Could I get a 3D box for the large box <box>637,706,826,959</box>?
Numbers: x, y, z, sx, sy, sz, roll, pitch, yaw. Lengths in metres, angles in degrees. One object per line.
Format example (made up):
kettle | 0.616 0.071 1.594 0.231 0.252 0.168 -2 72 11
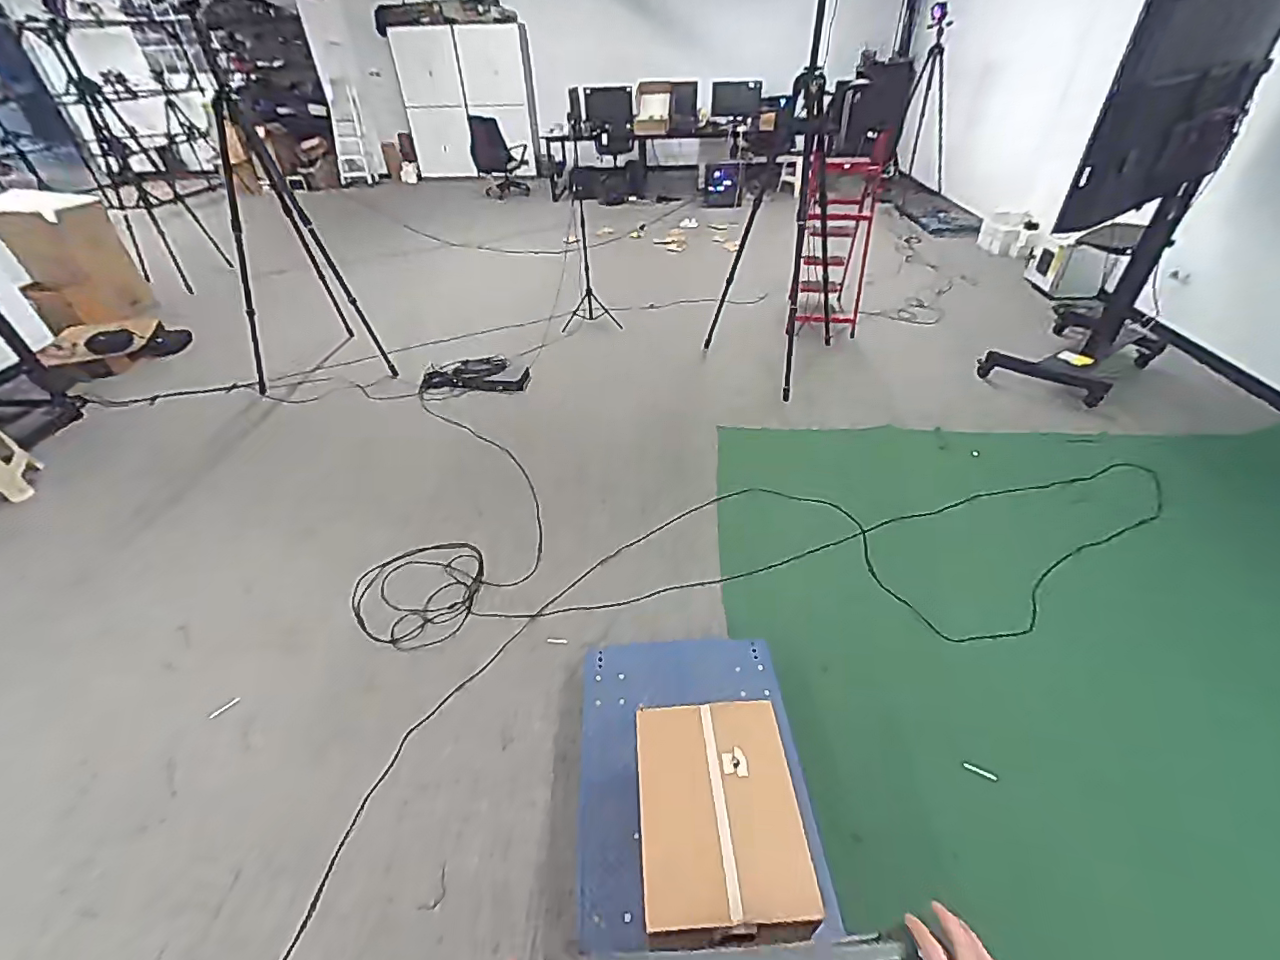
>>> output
large box | 0.164 0.767 1.168 0.320 0.320 0.408 -3 37 -2
